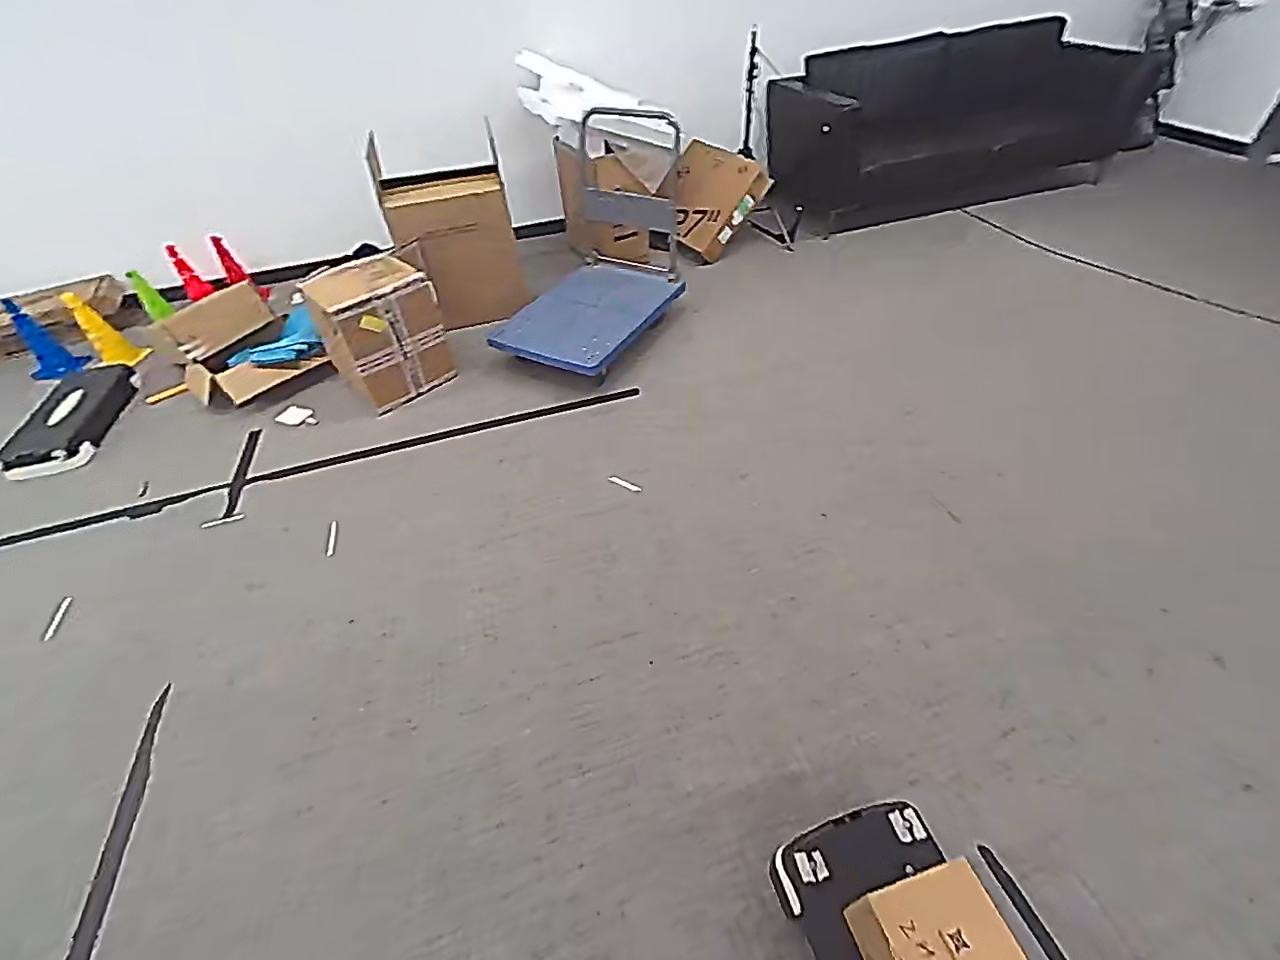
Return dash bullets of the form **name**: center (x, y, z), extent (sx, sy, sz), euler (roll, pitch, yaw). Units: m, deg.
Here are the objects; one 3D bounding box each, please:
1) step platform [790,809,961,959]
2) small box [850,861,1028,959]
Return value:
- **step platform**: center (0.518, 0.925, 0.856), extent (0.286, 0.204, 0.684), euler (-14, 45, -10)
- **small box**: center (0.451, 0.717, 0.823), extent (0.179, 0.176, 0.168), euler (-14, 45, -9)
